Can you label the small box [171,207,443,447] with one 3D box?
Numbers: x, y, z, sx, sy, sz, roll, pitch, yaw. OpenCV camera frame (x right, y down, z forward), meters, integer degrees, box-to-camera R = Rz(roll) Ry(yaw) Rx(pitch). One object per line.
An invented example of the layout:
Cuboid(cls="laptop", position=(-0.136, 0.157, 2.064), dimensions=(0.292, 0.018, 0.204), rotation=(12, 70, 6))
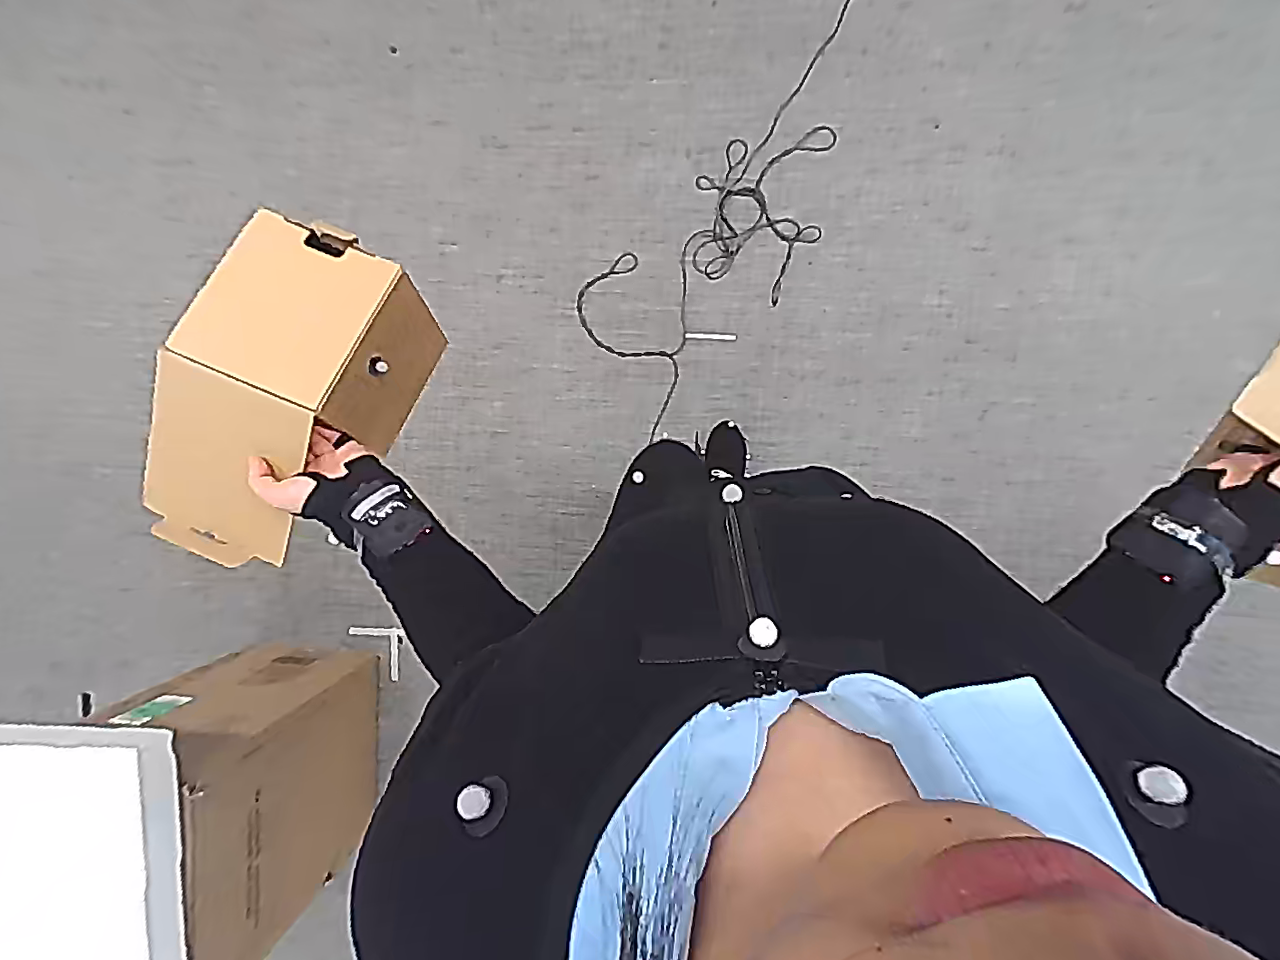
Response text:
Cuboid(cls="small box", position=(-0.350, -0.157, 0.612), dimensions=(0.168, 0.176, 0.179), rotation=(23, 77, 2))
